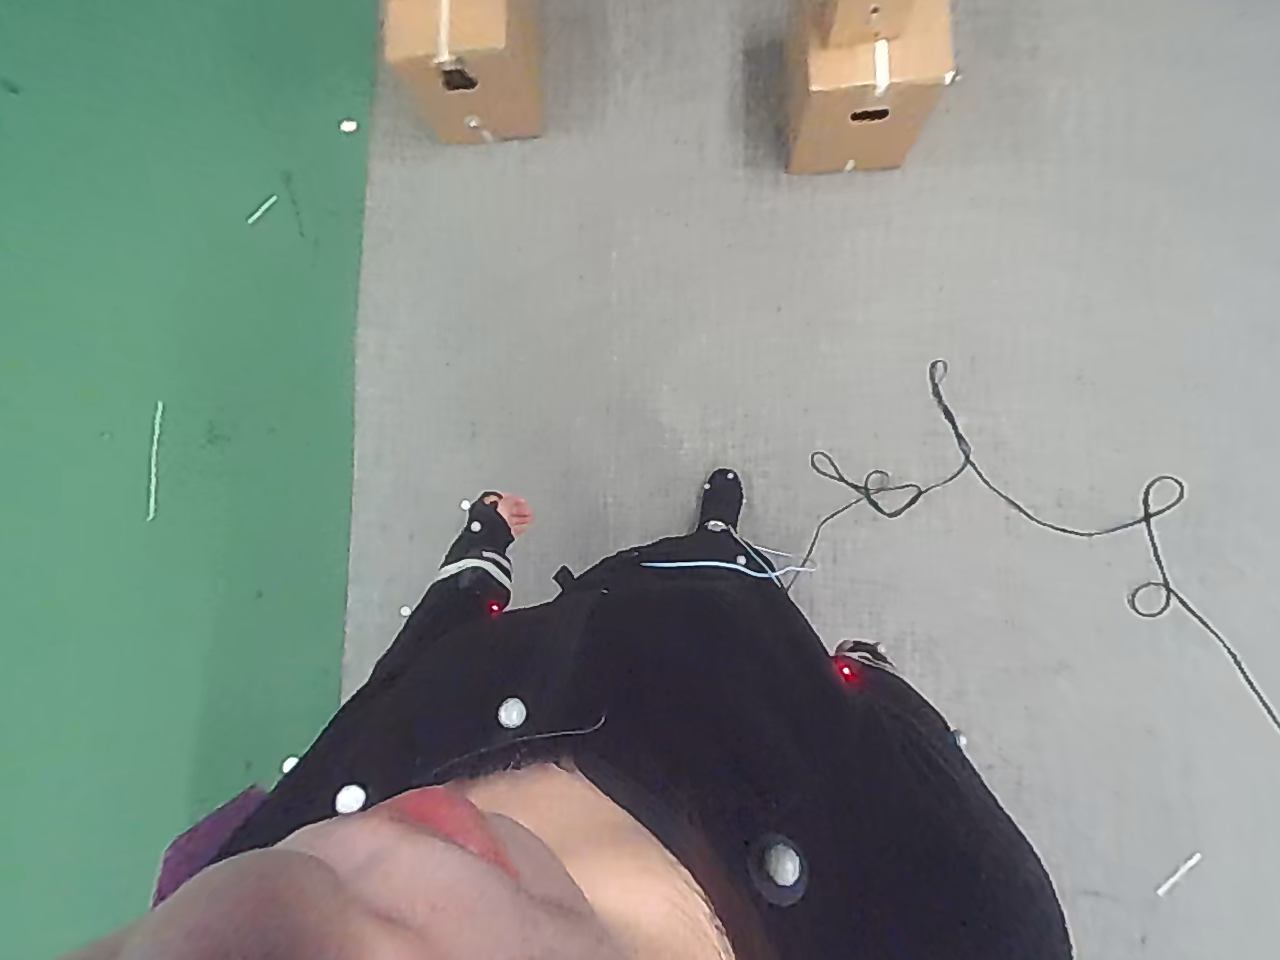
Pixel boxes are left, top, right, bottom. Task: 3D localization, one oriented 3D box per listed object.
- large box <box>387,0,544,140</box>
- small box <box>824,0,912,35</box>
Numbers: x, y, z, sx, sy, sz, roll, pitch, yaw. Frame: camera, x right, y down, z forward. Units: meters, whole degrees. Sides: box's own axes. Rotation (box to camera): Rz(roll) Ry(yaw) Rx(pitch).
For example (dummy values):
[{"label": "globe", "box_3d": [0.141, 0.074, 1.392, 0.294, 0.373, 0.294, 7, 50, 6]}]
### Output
[{"label": "large box", "box_3d": [-0.457, -1.233, 1.478, 0.320, 0.320, 0.408, -1, 86, 7]}, {"label": "small box", "box_3d": [0.484, -1.074, 1.124, 0.168, 0.176, 0.179, -4, 87, 8]}]
